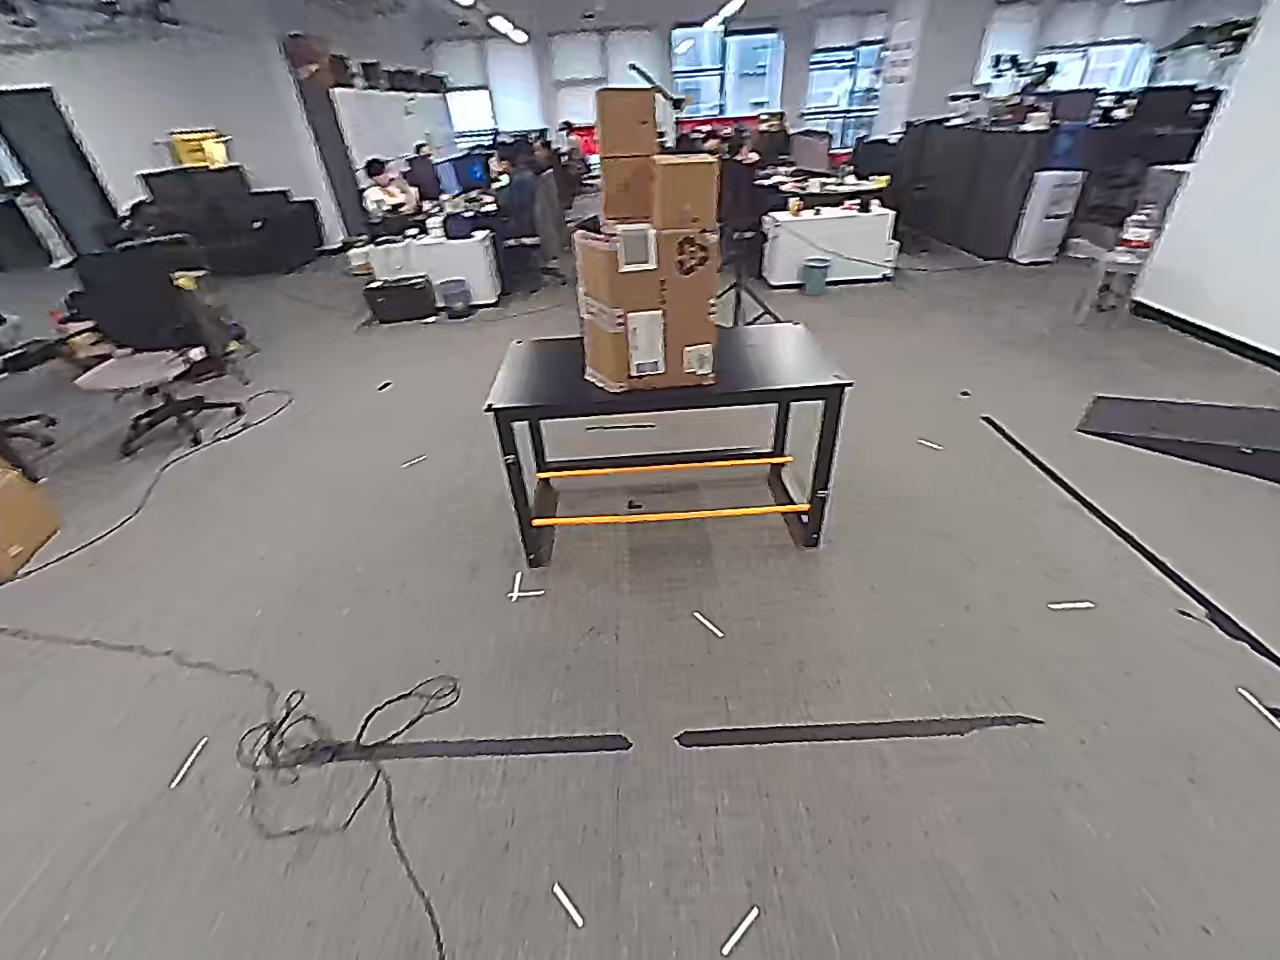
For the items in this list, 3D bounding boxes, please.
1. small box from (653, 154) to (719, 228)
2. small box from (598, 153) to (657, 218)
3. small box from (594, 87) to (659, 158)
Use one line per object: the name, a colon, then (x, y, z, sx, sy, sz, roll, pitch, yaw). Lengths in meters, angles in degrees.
small box: (0.128, -0.836, 1.563, 0.168, 0.176, 0.179, -5, 36, -4)
small box: (-0.035, -0.933, 1.712, 0.179, 0.176, 0.168, -5, 33, -4)
small box: (-0.040, -1.068, 1.620, 0.179, 0.176, 0.168, -7, 32, -6)
